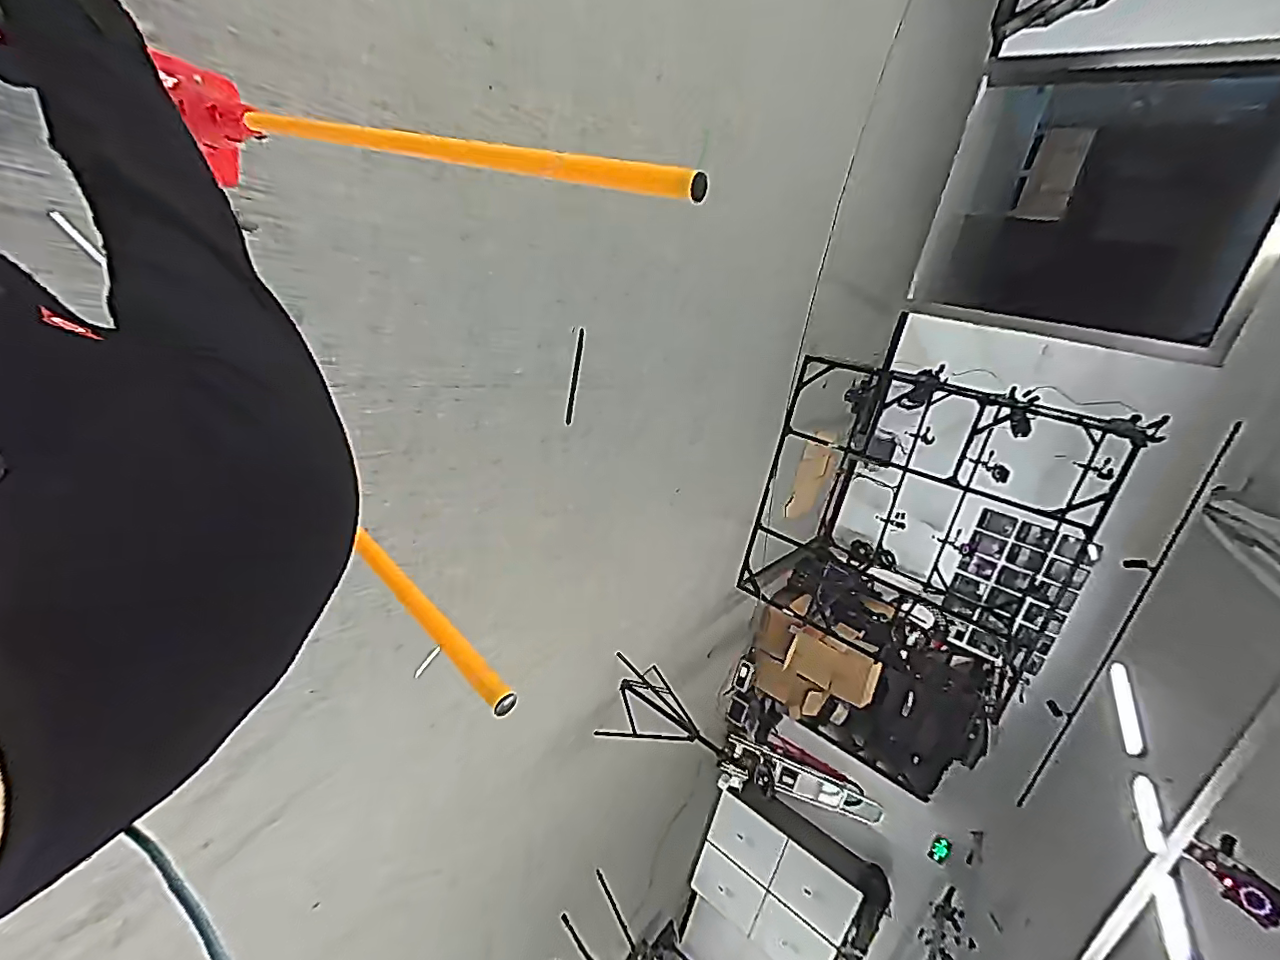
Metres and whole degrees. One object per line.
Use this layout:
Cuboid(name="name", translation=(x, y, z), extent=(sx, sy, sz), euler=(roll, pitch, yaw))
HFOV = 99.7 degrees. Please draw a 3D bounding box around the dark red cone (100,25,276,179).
Cuboid(name="dark red cone", translation=(-0.744, -0.646, 0.939), extent=(0.201, 0.394, 0.202), euler=(-14, 122, -55))
